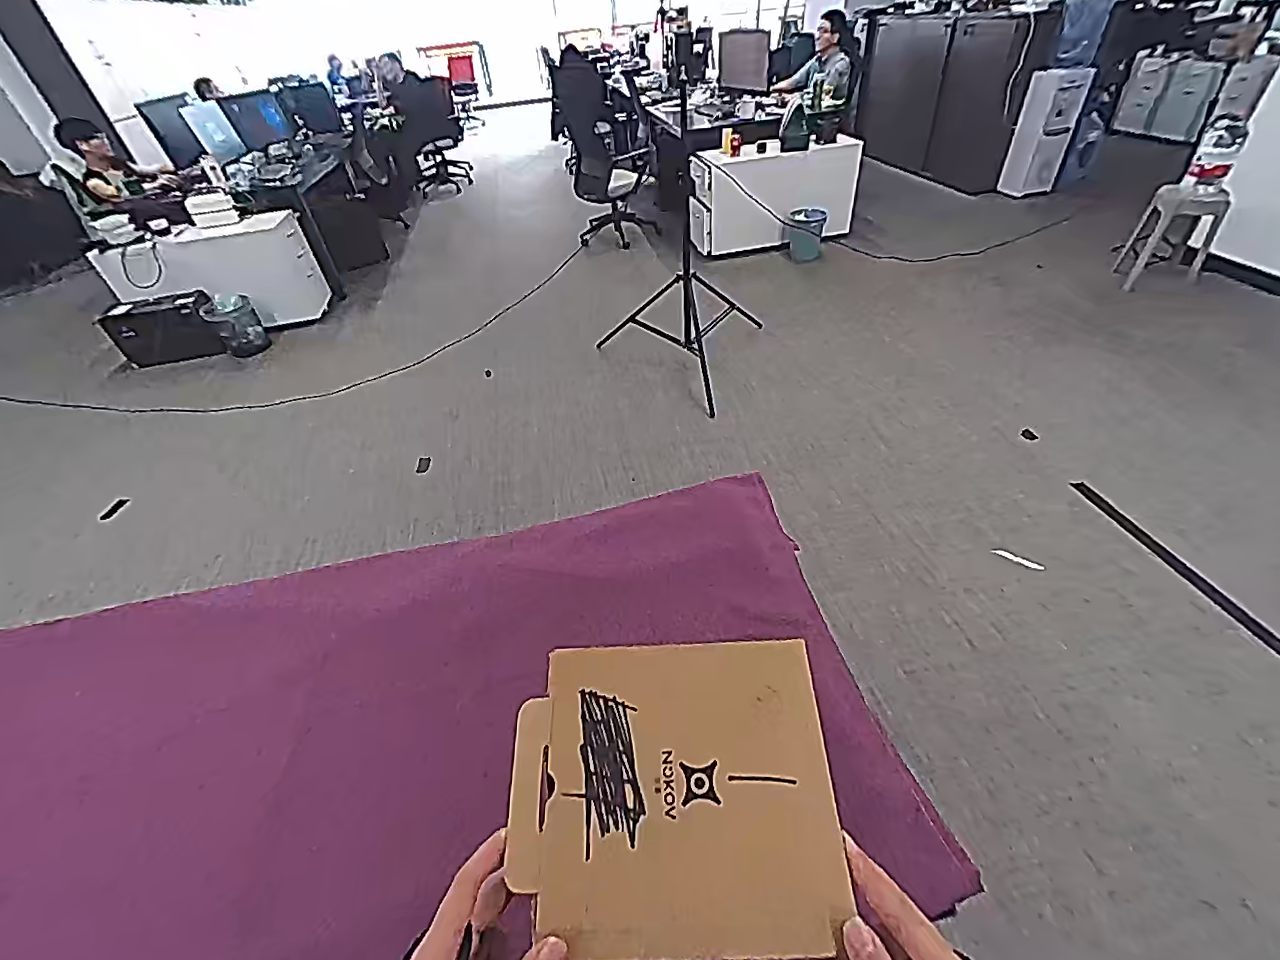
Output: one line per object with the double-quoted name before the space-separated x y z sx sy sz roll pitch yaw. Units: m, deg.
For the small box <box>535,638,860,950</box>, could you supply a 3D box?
"small box" 0.032 0.224 0.395 0.179 0.176 0.168 -2 57 1
